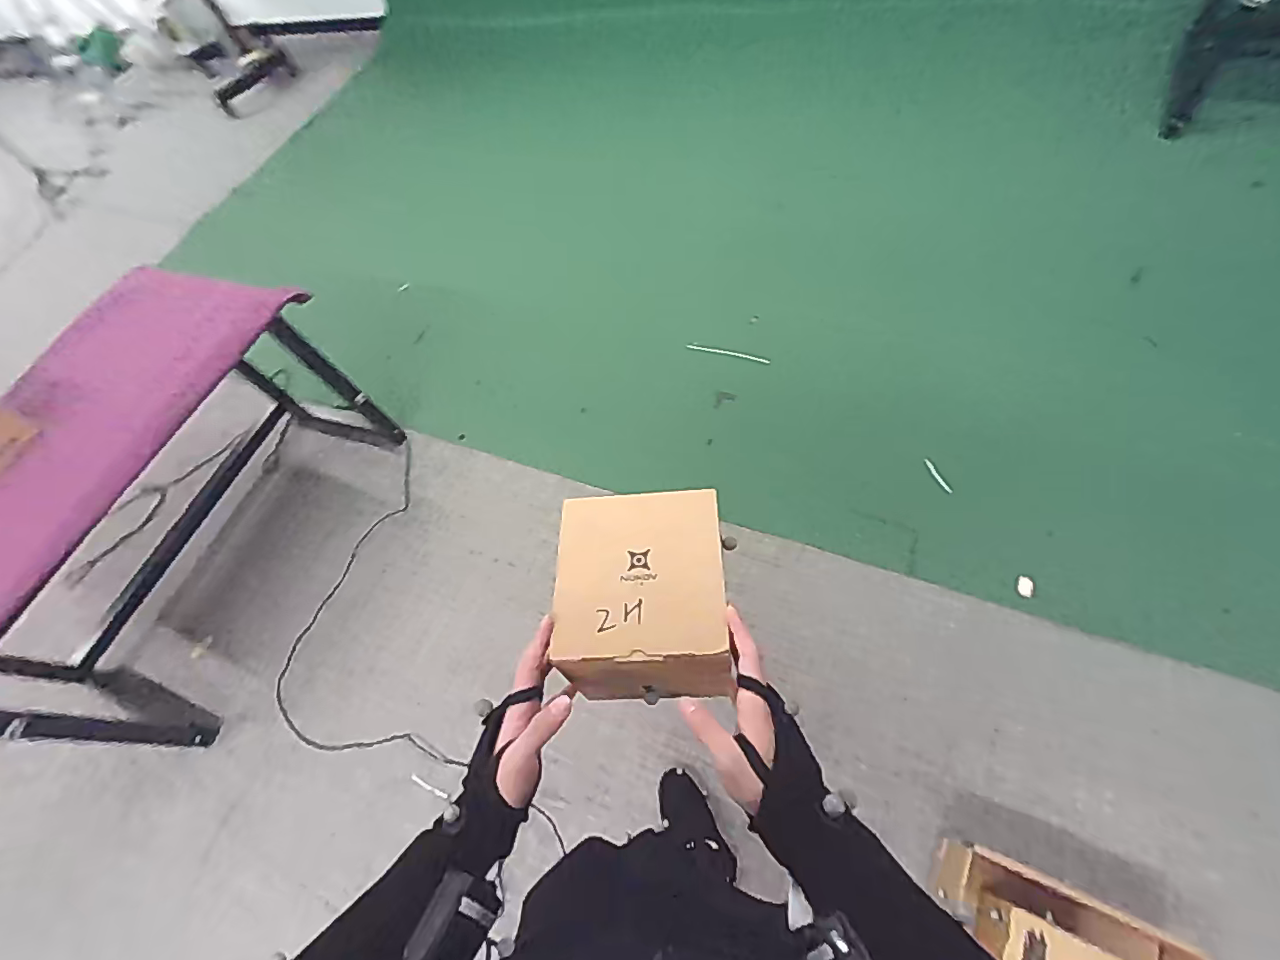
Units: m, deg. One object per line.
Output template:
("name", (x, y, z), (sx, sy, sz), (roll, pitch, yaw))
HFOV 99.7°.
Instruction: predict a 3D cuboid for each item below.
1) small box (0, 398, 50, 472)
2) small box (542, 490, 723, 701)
("small box", (-1.646, -0.137, 1.330), (0.179, 0.176, 0.168), (17, 67, 20))
("small box", (0.002, 0.132, 0.595), (0.168, 0.176, 0.179), (-4, 55, 7))
